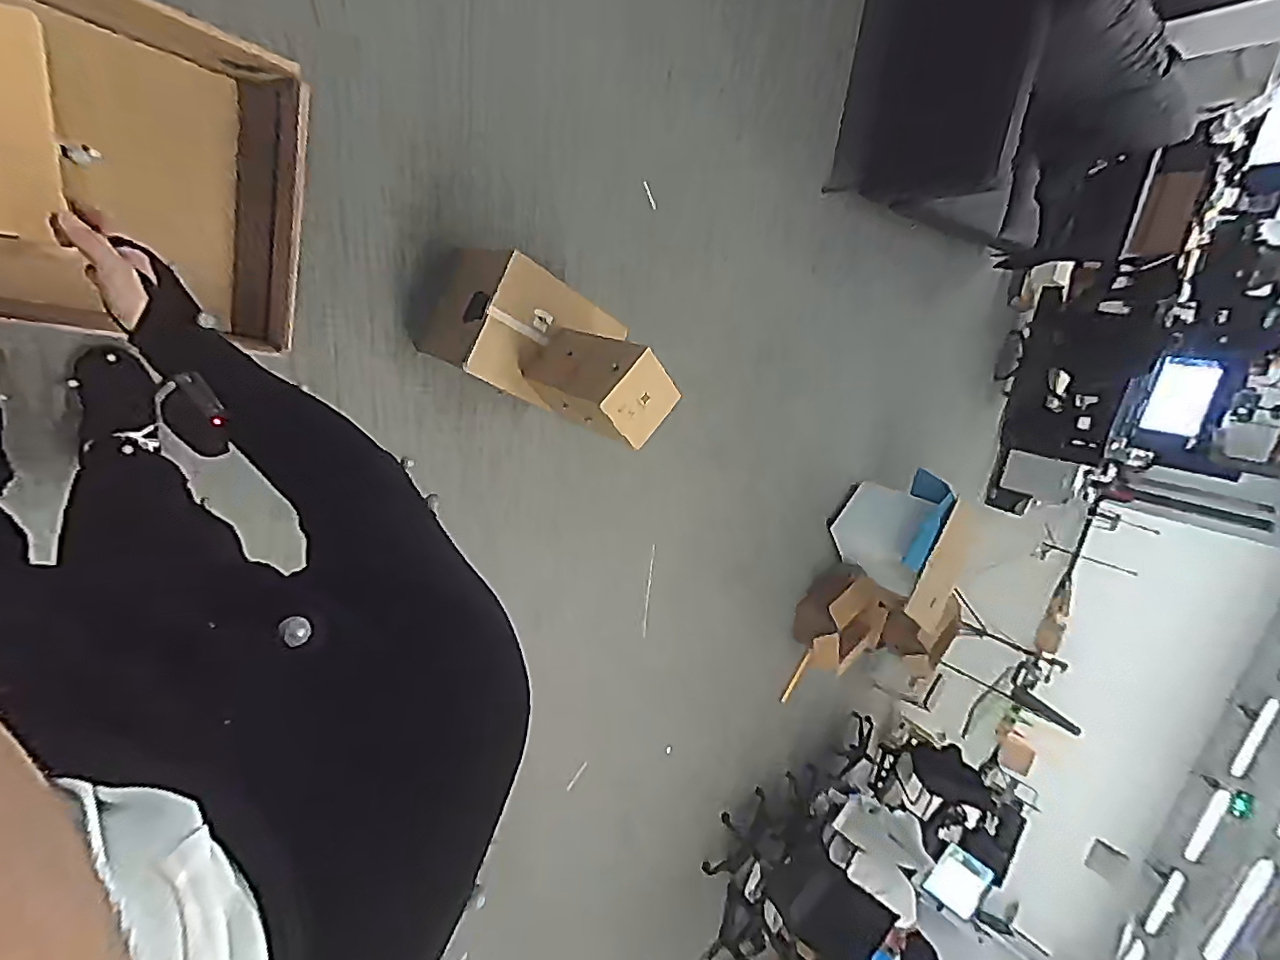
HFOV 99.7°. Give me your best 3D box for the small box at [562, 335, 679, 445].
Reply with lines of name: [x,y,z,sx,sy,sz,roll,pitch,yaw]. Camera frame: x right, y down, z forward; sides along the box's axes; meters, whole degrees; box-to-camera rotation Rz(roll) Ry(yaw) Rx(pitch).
small box: [-0.047,-0.215,1.257,0.179,0.176,0.168,-51,134,-11]

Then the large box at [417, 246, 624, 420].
large box: [-0.329,-0.401,1.503,0.408,0.320,0.320,23,91,-45]

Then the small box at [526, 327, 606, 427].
small box: [-0.156,-0.268,1.370,0.179,0.176,0.168,-51,134,-12]

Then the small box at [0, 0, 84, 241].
small box: [-0.593,-0.314,0.451,0.168,0.176,0.179,-7,116,-42]
